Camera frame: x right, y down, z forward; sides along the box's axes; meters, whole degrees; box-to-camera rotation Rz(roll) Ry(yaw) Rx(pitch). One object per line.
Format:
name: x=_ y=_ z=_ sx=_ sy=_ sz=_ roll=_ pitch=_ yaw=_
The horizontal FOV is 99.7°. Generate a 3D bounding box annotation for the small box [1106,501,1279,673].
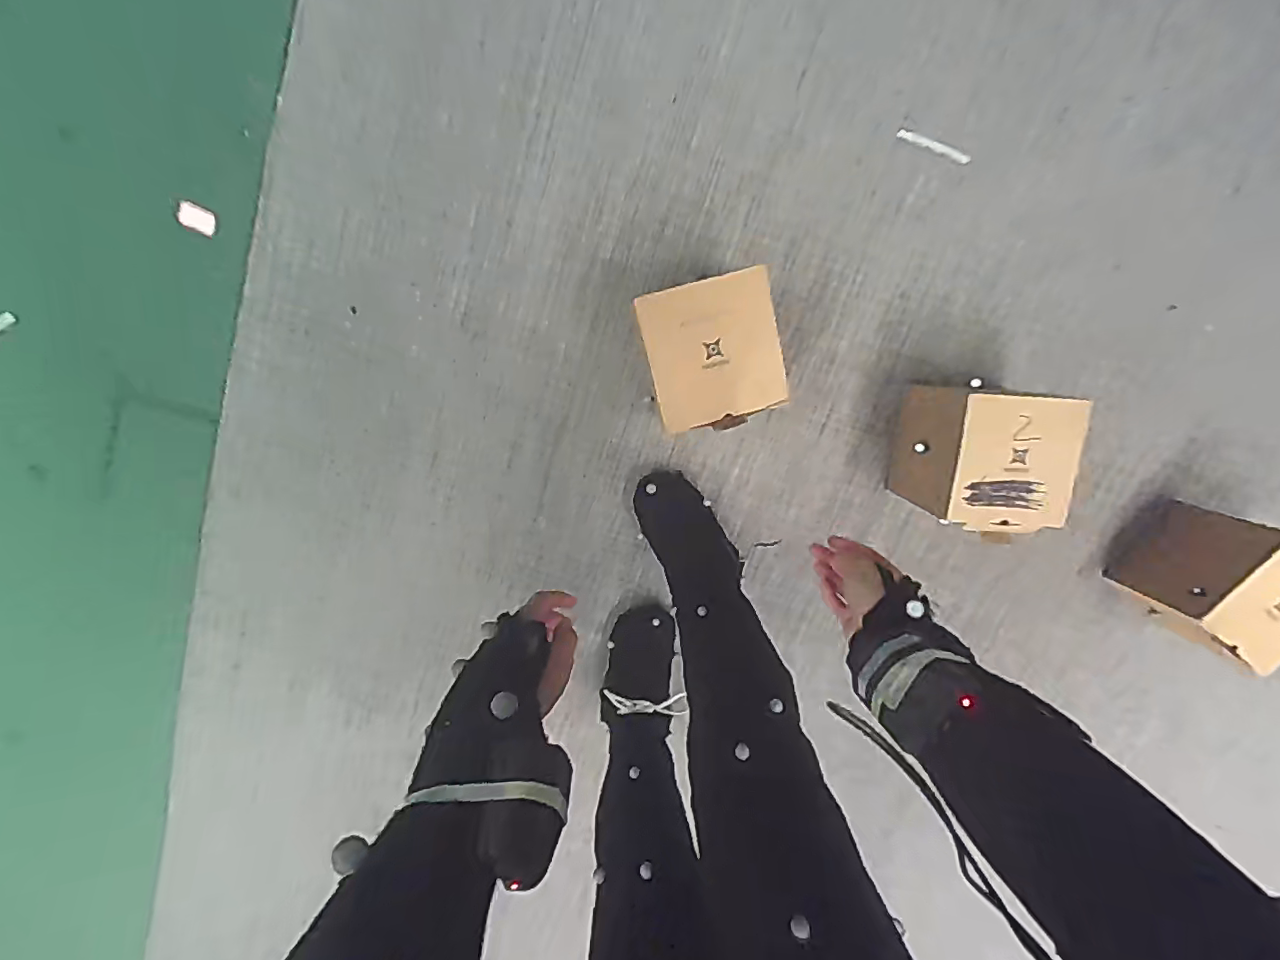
small box: x=0.917 y=0.160 z=0.861 sx=0.168 sy=0.176 sz=0.179 roll=36 pitch=101 yaw=-10

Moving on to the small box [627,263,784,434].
small box: x=0.082 y=-0.178 z=0.744 sx=0.168 sy=0.176 sz=0.179 roll=-15 pitch=103 yaw=1
